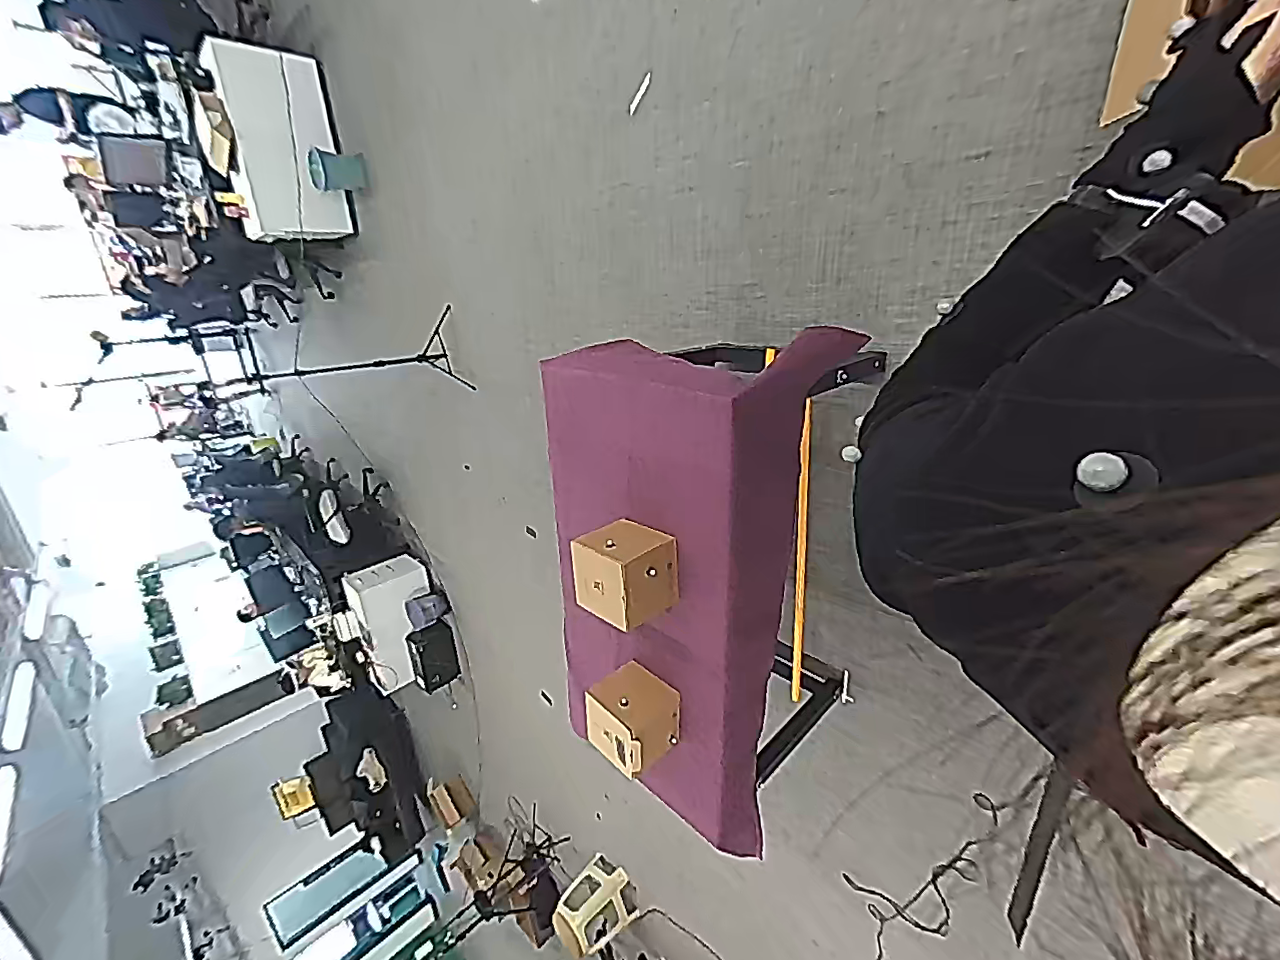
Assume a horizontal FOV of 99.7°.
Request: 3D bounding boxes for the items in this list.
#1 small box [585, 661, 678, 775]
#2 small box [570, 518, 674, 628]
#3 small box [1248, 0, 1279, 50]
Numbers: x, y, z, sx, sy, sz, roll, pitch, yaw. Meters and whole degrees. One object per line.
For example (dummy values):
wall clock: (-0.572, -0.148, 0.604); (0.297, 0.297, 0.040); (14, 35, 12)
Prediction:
small box: (-0.019, 0.595, 1.381); (0.179, 0.176, 0.168); (22, 121, 42)
small box: (-0.035, 0.200, 1.229); (0.179, 0.176, 0.168); (17, 118, 43)
small box: (0.889, -0.688, 0.673); (0.179, 0.176, 0.168); (-13, 100, 46)
